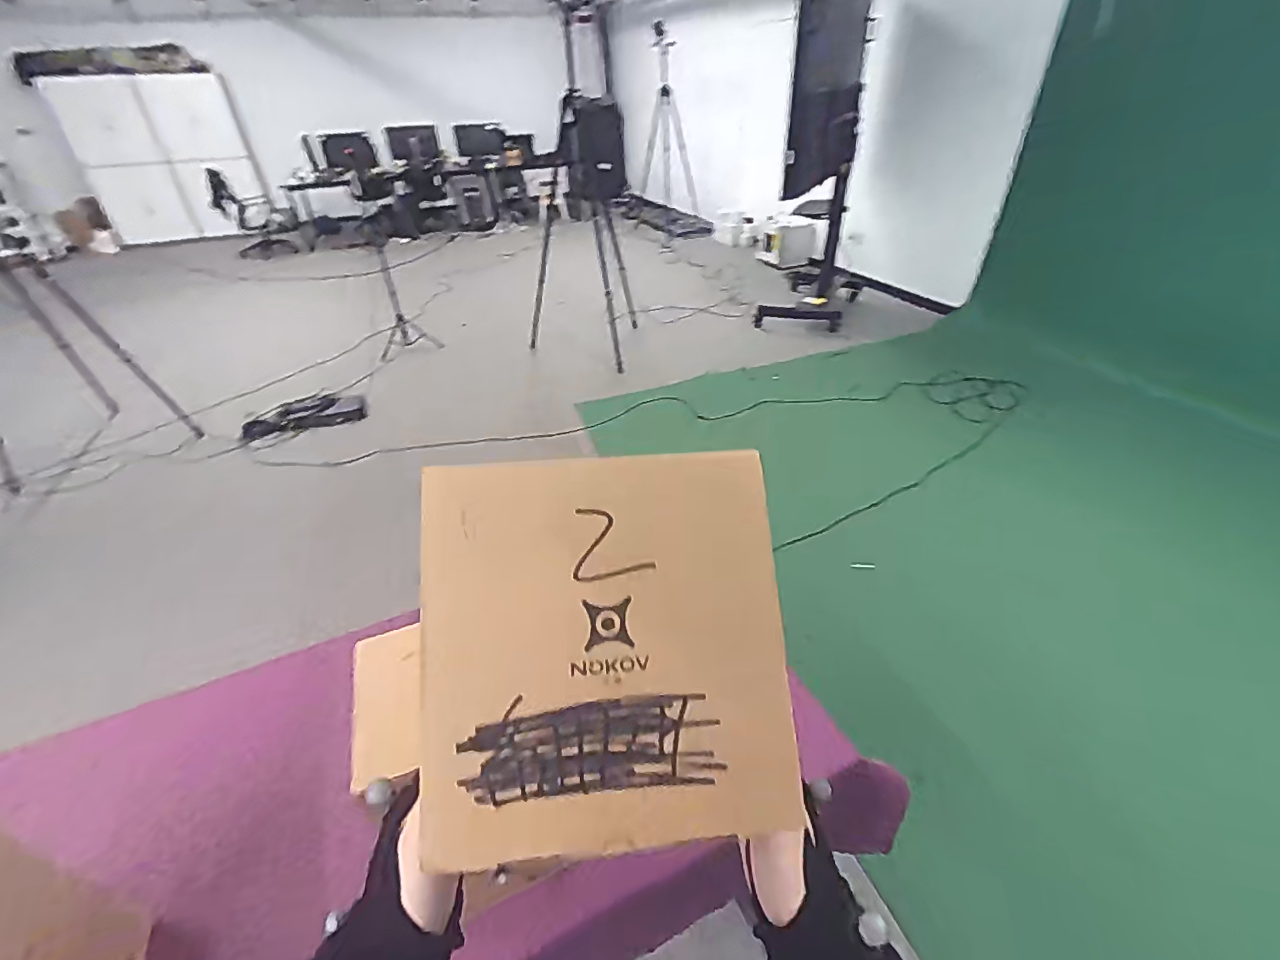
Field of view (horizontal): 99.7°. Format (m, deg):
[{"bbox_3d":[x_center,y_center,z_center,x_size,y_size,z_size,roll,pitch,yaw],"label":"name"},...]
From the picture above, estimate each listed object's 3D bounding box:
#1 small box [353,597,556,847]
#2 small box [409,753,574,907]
[{"bbox_3d":[-0.200,0.269,0.600,0.168,0.176,0.179,-15,37,-16],"label":"small box"},{"bbox_3d":[-0.191,0.403,0.693,0.168,0.176,0.179,-16,38,-18],"label":"small box"}]
